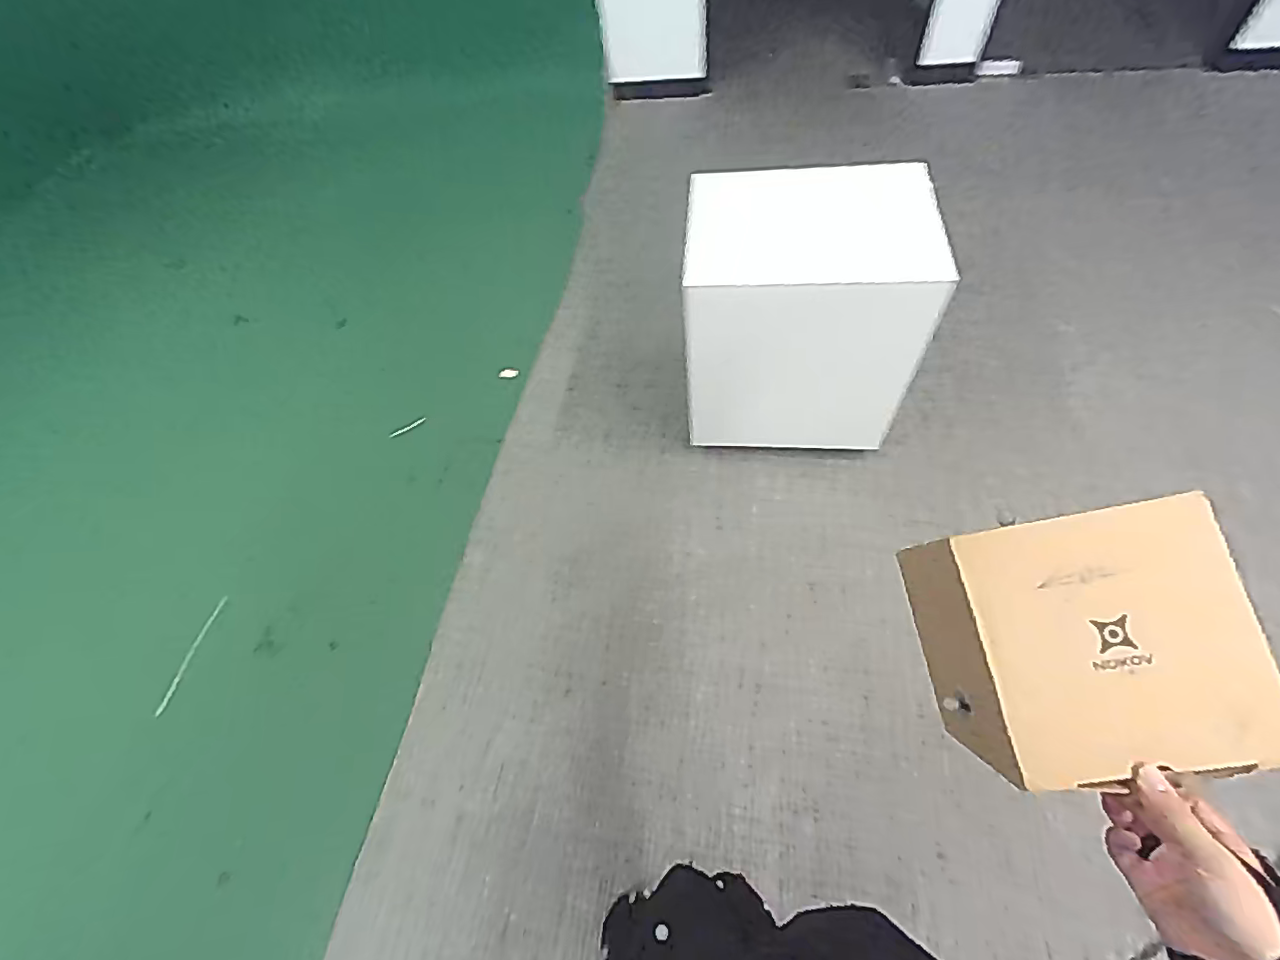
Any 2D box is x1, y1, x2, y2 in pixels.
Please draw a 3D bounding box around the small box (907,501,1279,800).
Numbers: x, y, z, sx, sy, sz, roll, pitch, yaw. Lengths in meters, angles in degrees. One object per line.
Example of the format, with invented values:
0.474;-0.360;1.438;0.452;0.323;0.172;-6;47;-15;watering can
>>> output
0.340;0.127;0.436;0.168;0.176;0.179;-12;75;10;small box
